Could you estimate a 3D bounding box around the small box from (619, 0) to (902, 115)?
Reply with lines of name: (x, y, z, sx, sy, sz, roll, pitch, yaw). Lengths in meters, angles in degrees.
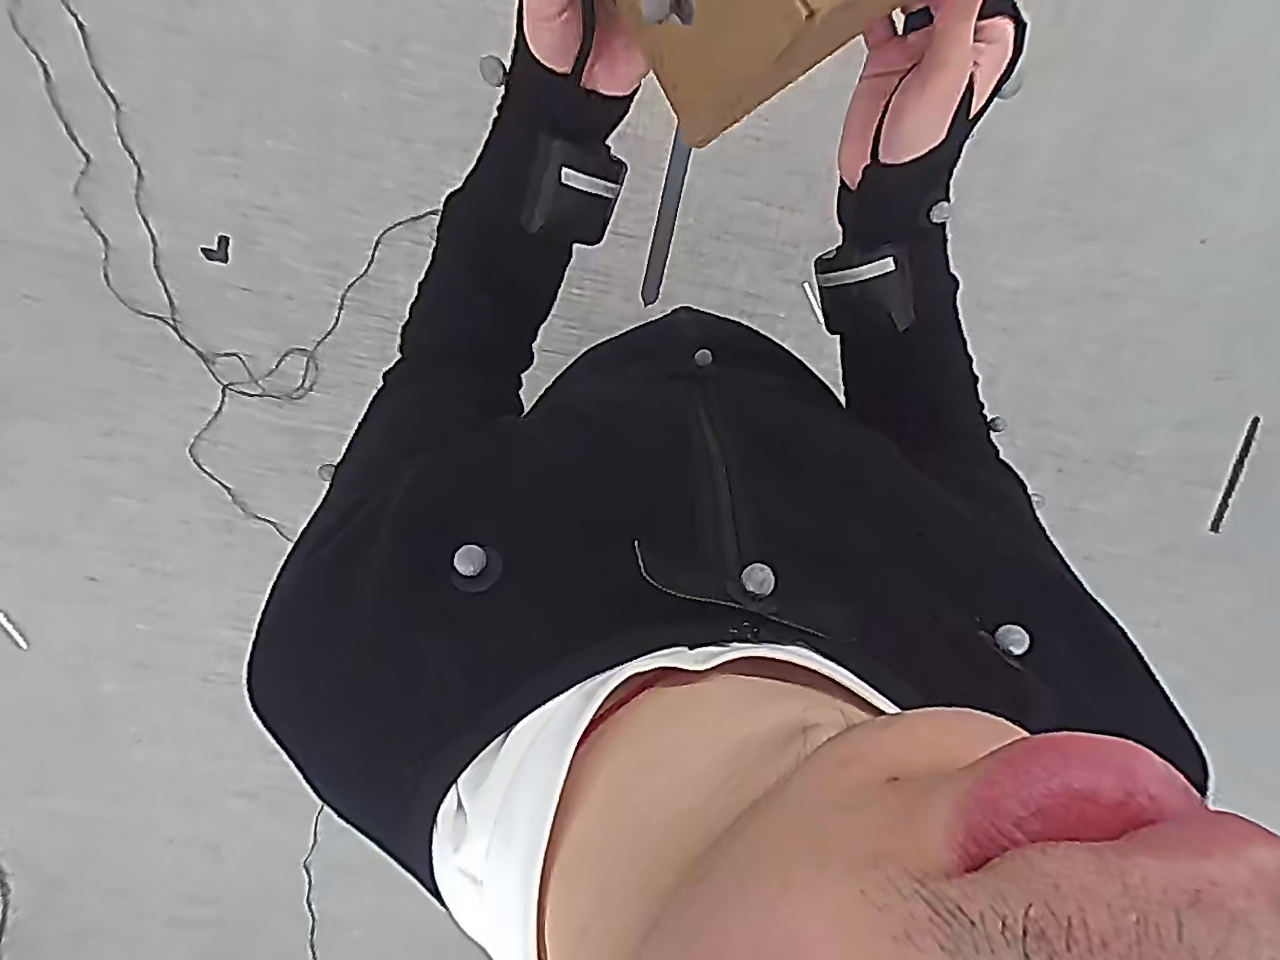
small box: (0.062, -0.266, 0.188, 0.168, 0.176, 0.179, -34, 109, 6)
